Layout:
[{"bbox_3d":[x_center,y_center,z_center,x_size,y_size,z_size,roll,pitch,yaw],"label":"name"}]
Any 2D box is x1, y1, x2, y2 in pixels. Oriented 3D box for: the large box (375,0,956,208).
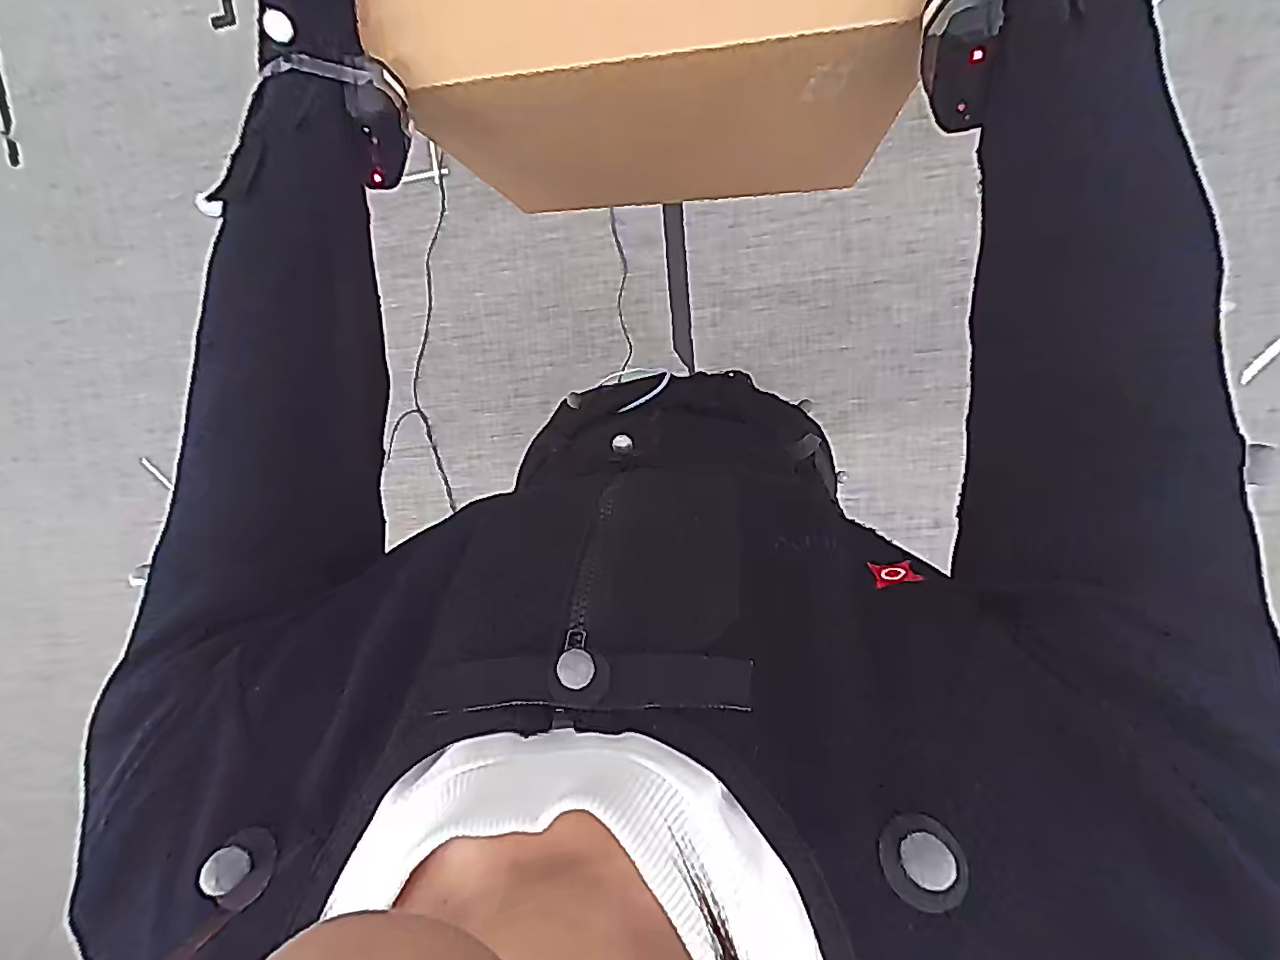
[{"bbox_3d":[0.021,-0.471,0.487,0.408,0.320,0.320,0,101,9],"label":"large box"}]
